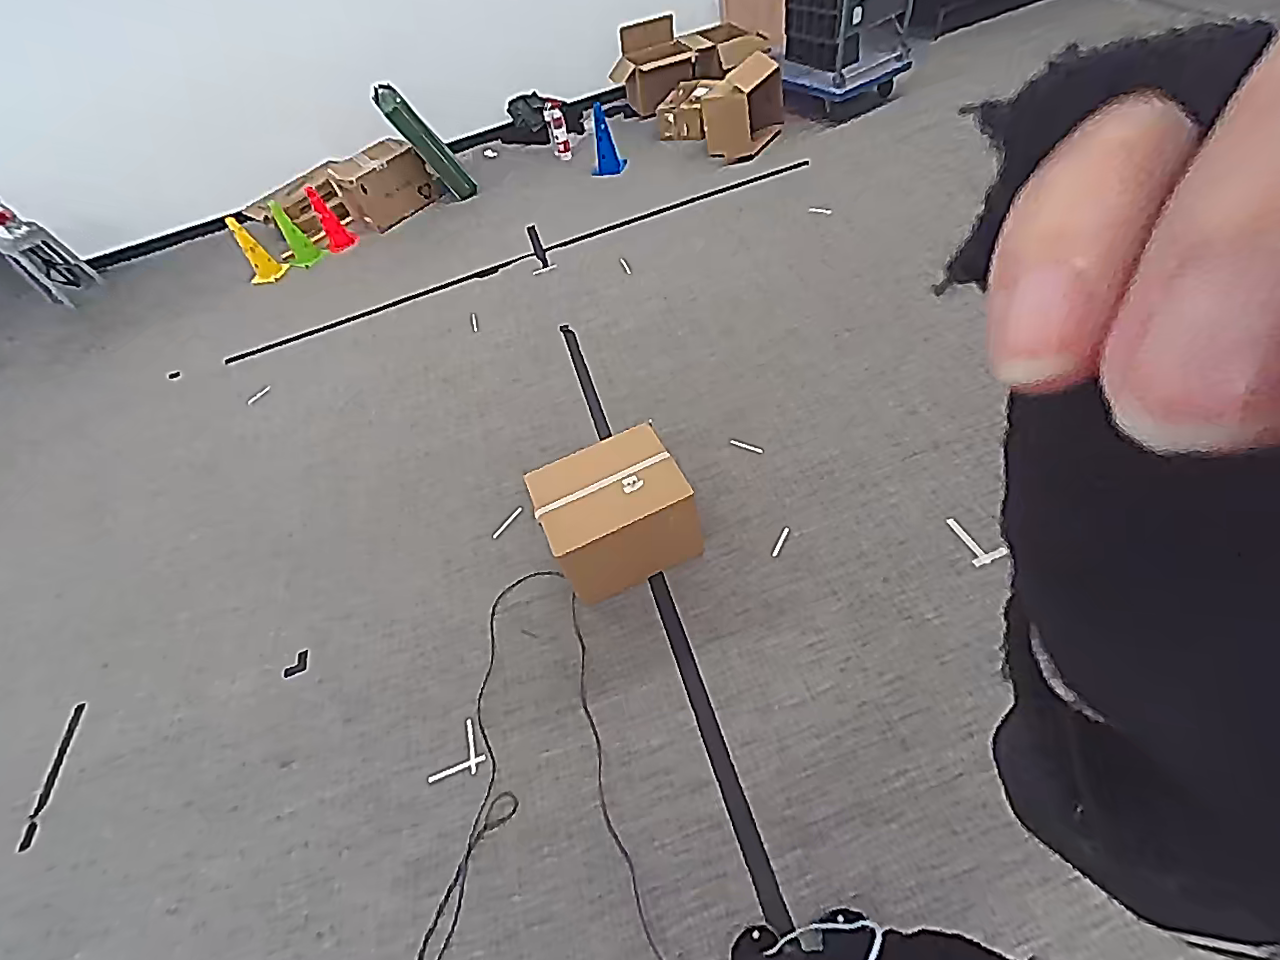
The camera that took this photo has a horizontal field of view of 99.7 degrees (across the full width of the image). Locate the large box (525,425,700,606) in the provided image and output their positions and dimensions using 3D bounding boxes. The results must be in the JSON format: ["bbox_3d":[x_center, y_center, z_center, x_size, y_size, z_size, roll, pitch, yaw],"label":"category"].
[{"bbox_3d":[-0.075,0.108,1.609,0.408,0.320,0.320,-24,52,-8],"label":"large box"}]
